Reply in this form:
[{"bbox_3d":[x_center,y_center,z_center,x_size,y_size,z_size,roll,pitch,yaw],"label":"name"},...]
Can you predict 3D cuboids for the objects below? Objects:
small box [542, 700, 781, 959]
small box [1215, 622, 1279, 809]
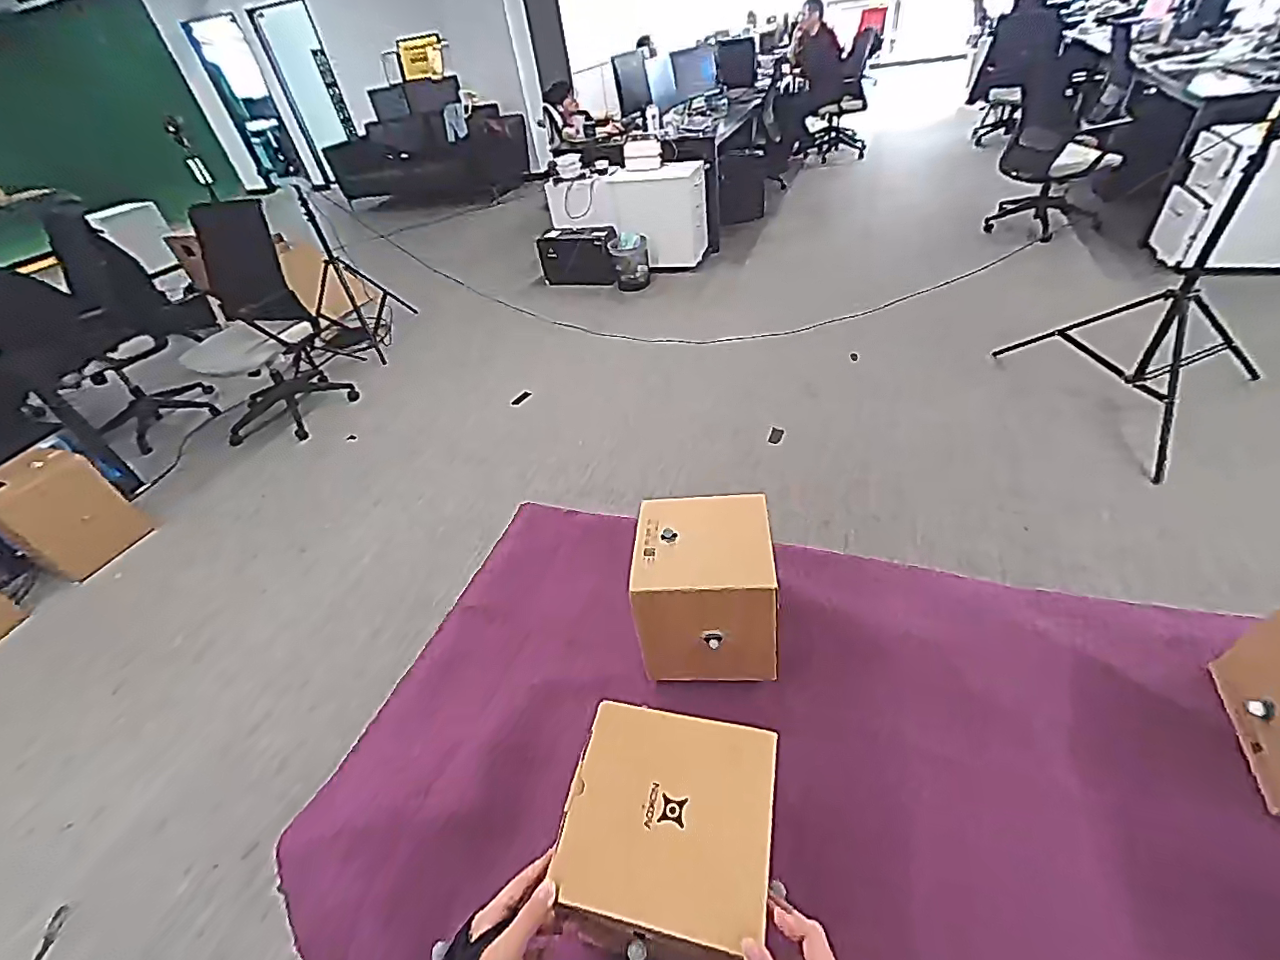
[{"bbox_3d":[0.035,0.338,0.510,0.179,0.176,0.168,3,42,16],"label":"small box"},{"bbox_3d":[0.715,0.224,0.501,0.179,0.176,0.168,8,44,19],"label":"small box"}]
